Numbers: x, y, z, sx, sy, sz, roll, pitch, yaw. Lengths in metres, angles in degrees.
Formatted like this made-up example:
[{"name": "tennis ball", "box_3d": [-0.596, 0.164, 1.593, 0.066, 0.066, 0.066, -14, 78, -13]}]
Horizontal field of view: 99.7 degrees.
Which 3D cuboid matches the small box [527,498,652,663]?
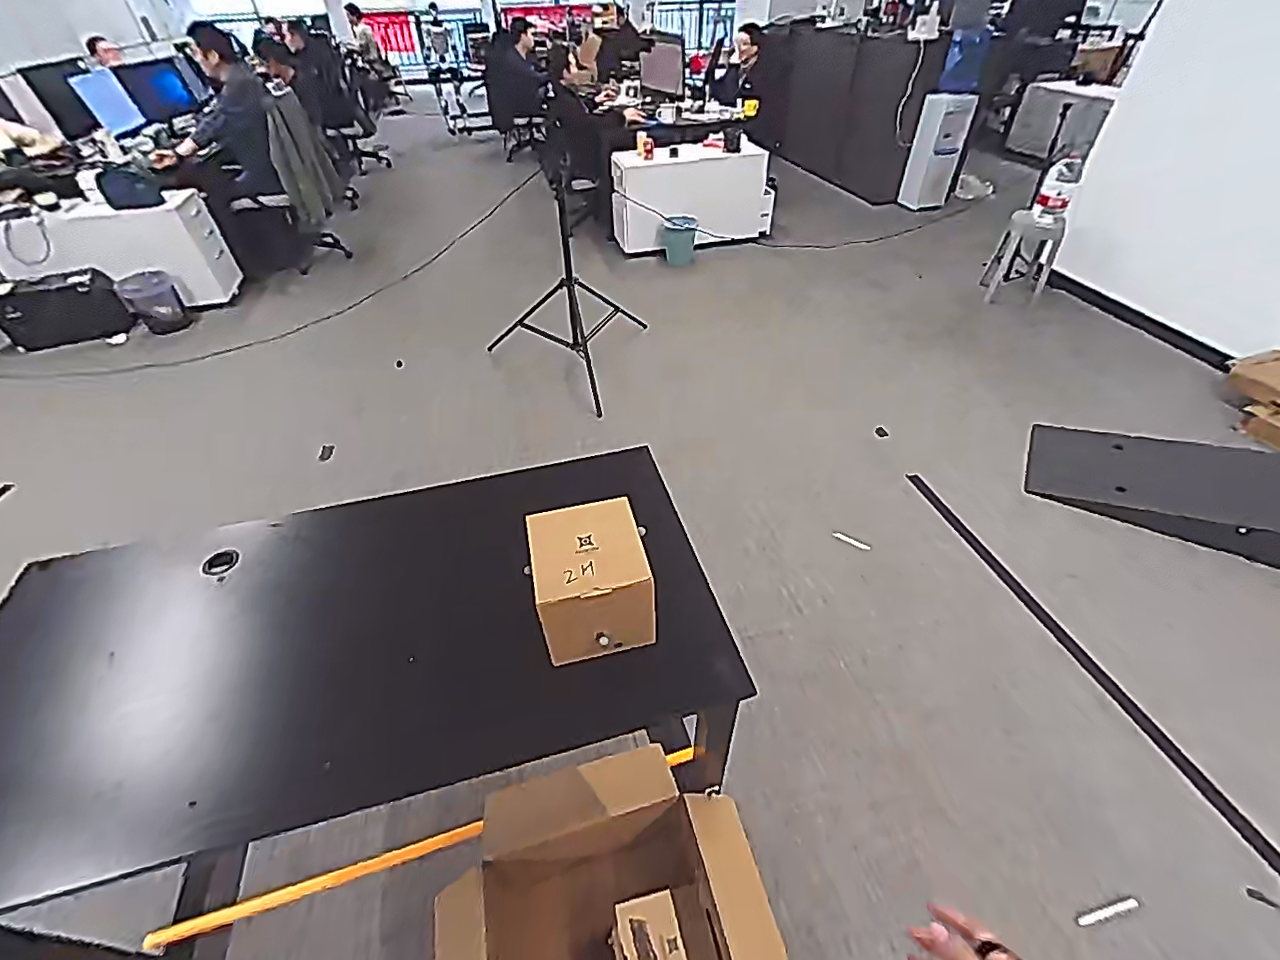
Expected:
[{"name": "small box", "box_3d": [-0.079, 0.158, 0.856, 0.168, 0.176, 0.179, -11, 43, -8]}]
